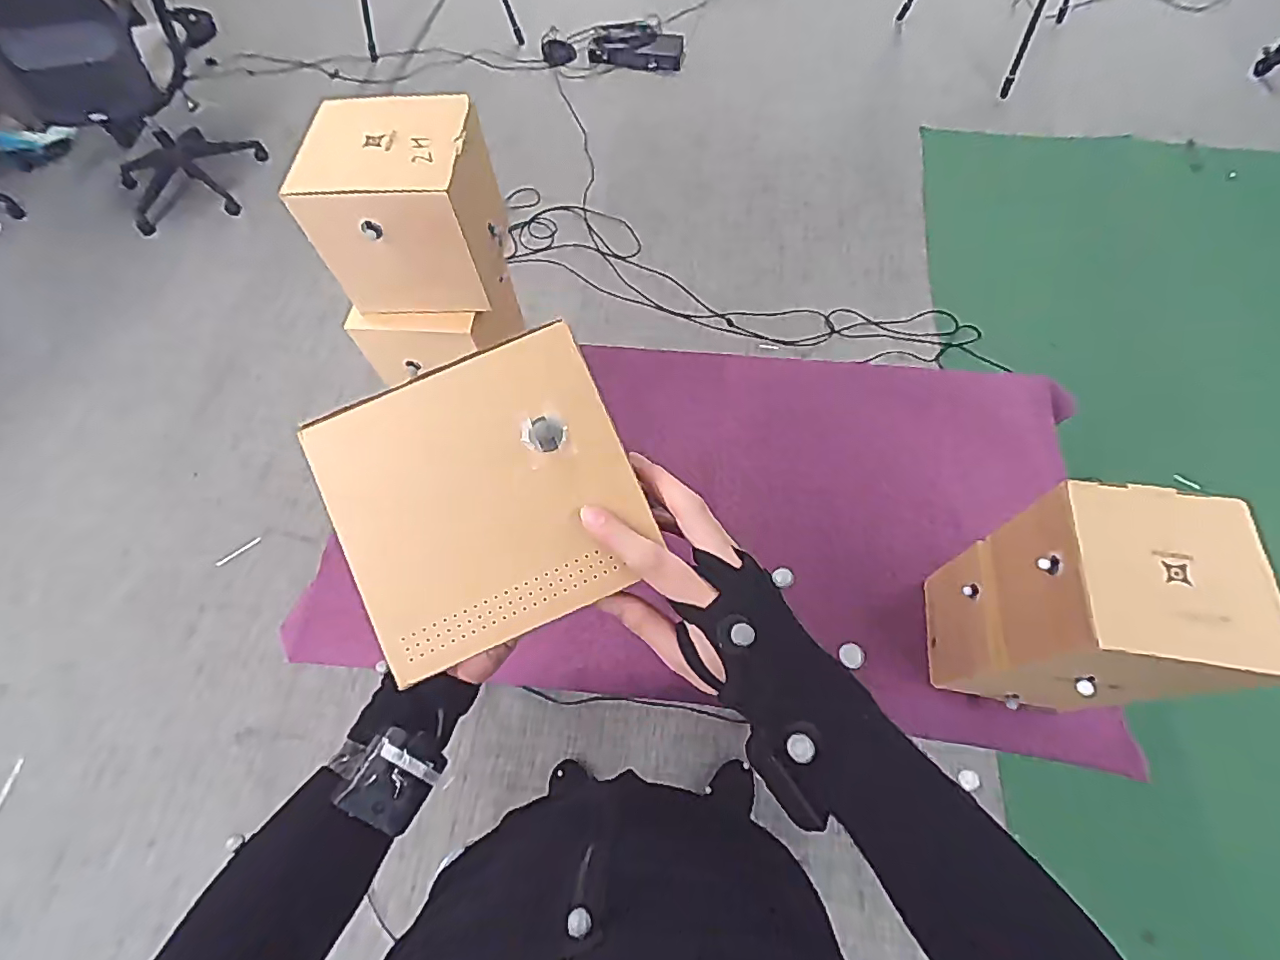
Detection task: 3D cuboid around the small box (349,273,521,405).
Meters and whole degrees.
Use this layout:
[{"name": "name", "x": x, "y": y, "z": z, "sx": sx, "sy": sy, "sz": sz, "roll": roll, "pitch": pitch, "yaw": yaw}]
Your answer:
[{"name": "small box", "x": -0.281, "y": -0.225, "z": 0.789, "sx": 0.168, "sy": 0.176, "sz": 0.179, "roll": 3, "pitch": 63, "yaw": 3}]

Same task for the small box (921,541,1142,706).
[{"name": "small box", "x": 0.507, "y": 0.201, "z": 0.731, "sx": 0.179, "sy": 0.176, "sz": 0.168, "roll": 9, "pitch": 63, "yaw": 6}]

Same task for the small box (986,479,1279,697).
[{"name": "small box", "x": 0.505, "y": 0.123, "z": 0.587, "sx": 0.168, "sy": 0.176, "sz": 0.179, "roll": 8, "pitch": 64, "yaw": 8}]

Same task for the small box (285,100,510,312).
[{"name": "small box", "x": -0.271, "y": -0.321, "z": 0.652, "sx": 0.179, "sy": 0.176, "sz": 0.168, "roll": 0, "pitch": 64, "yaw": 2}]

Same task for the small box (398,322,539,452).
[{"name": "small box", "x": -0.281, "y": -0.158, "z": 0.936, "sx": 0.179, "sy": 0.176, "sz": 0.168, "roll": 2, "pitch": 64, "yaw": 3}]
